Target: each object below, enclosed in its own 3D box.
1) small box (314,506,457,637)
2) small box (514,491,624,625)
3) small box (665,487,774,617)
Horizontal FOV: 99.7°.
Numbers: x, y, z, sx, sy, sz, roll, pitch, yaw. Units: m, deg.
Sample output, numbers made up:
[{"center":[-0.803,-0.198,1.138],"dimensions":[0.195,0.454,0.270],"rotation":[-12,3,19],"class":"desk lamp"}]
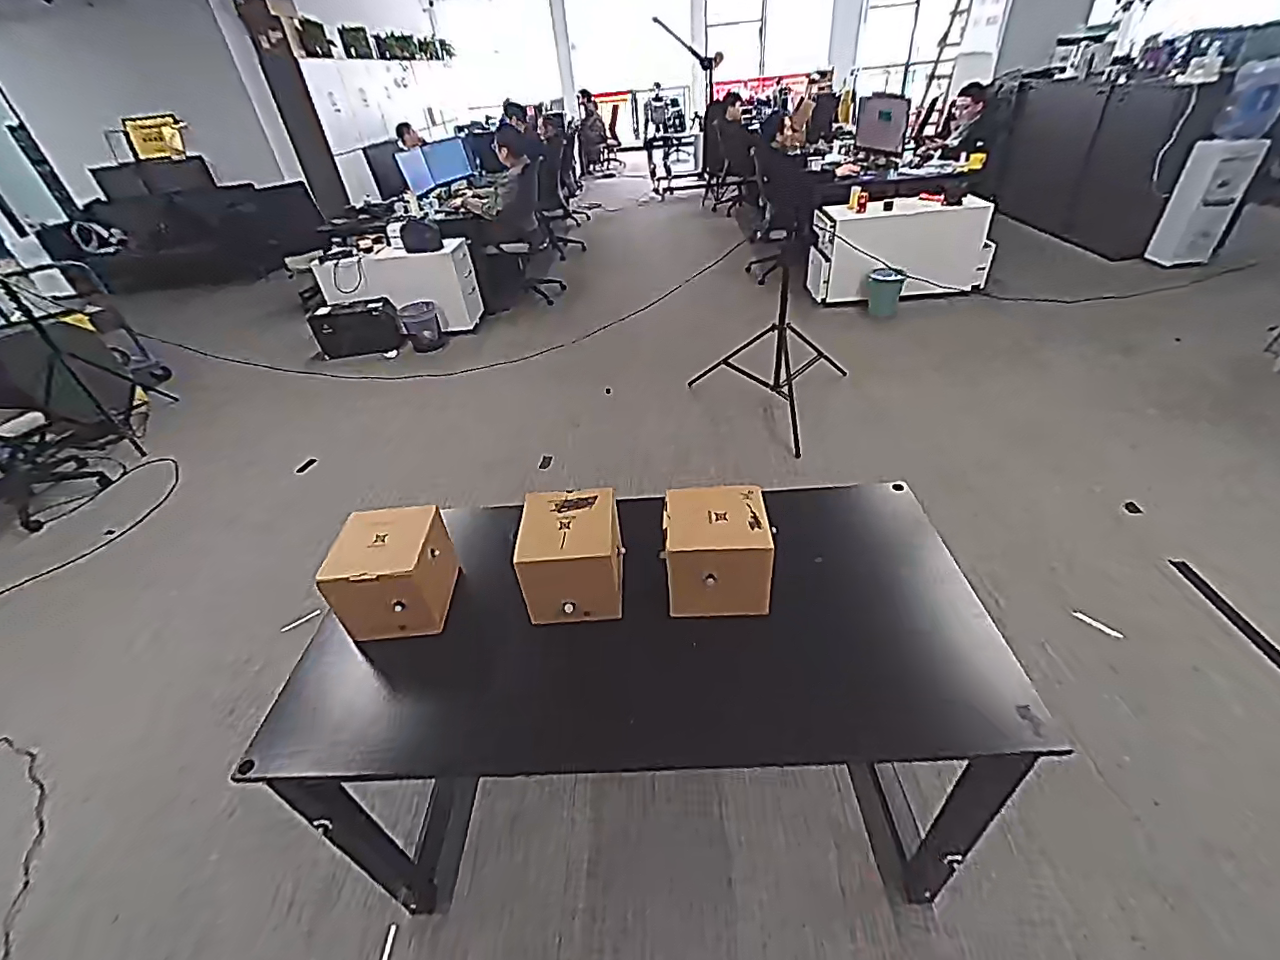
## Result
[{"center":[-0.452,0.173,0.996],"dimensions":[0.168,0.176,0.179],"rotation":[-5,36,-1],"class":"small box"},{"center":[-0.120,0.142,0.992],"dimensions":[0.168,0.176,0.179],"rotation":[-4,38,2],"class":"small box"},{"center":[0.139,0.131,0.972],"dimensions":[0.179,0.176,0.168],"rotation":[-3,37,5],"class":"small box"}]
